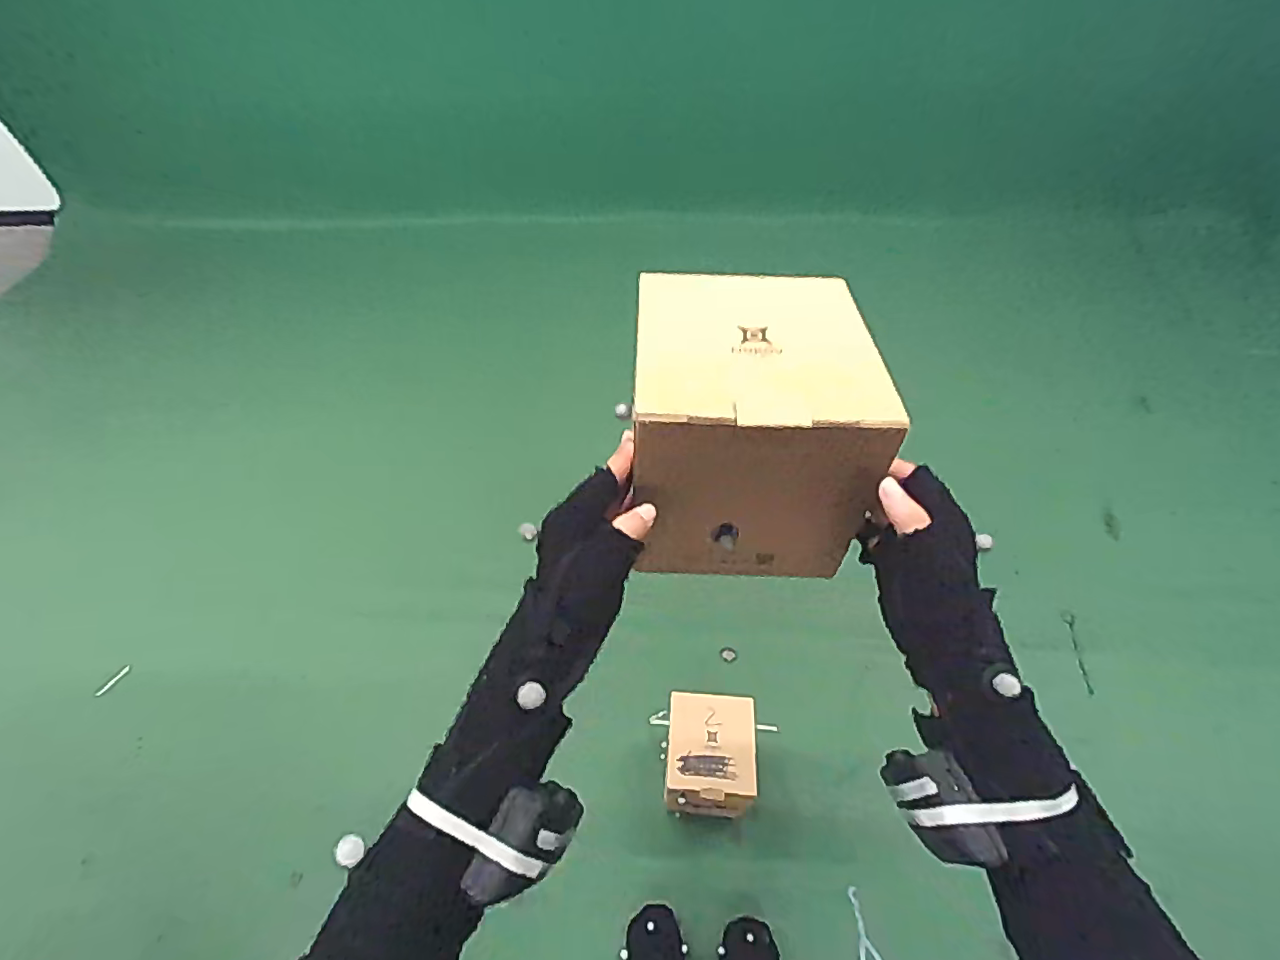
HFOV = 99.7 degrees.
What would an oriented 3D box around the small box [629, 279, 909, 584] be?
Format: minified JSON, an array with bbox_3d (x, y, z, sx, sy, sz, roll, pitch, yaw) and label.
[{"bbox_3d":[0.077,-0.038,0.433,0.168,0.176,0.179,2,49,0],"label":"small box"}]

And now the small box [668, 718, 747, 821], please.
[{"bbox_3d":[0.152,0.659,1.222,0.168,0.176,0.179,3,53,5],"label":"small box"}]
